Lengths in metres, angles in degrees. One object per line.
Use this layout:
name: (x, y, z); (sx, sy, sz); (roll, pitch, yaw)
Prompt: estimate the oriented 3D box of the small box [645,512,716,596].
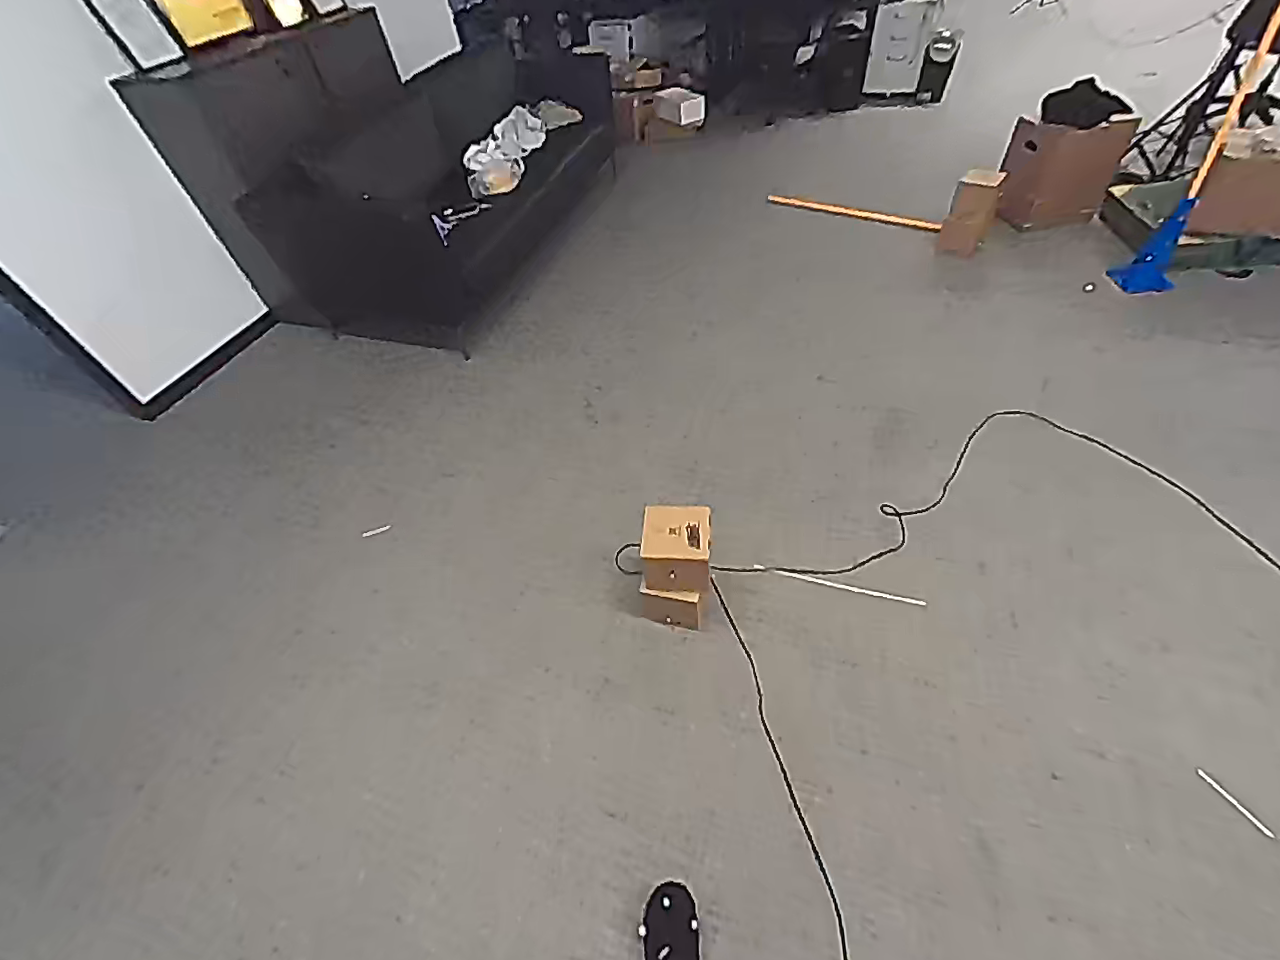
small box: (0.116, 0.202, 1.462); (0.179, 0.176, 0.168); (-1, 49, 10)
